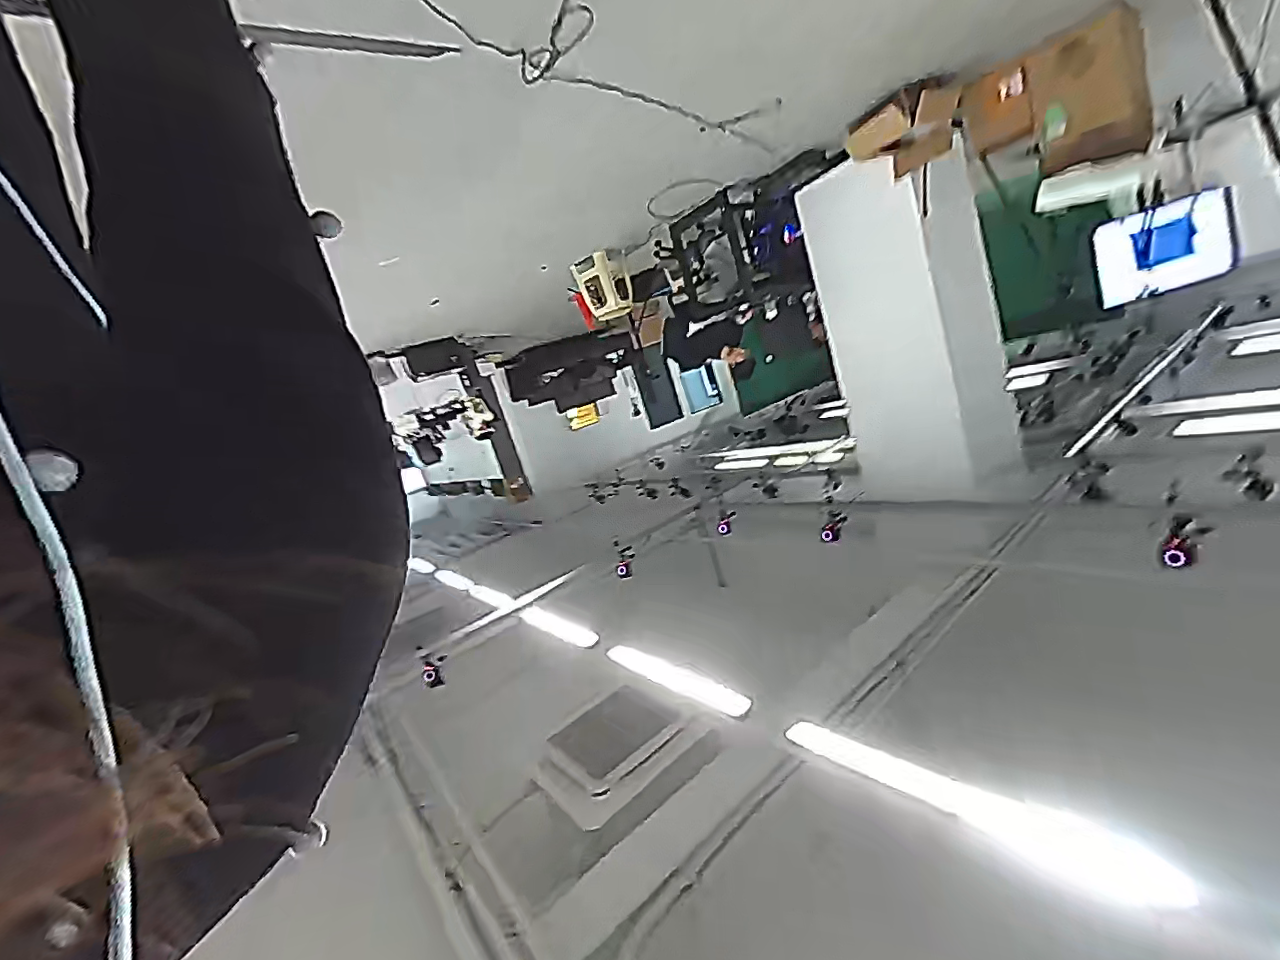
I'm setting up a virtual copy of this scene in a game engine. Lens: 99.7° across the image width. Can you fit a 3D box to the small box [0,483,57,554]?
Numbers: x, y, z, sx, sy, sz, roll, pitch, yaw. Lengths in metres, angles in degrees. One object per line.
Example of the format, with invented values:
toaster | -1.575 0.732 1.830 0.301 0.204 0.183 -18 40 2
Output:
small box | -1.799 0.114 1.508 0.168 0.176 0.179 -27 -166 -36
